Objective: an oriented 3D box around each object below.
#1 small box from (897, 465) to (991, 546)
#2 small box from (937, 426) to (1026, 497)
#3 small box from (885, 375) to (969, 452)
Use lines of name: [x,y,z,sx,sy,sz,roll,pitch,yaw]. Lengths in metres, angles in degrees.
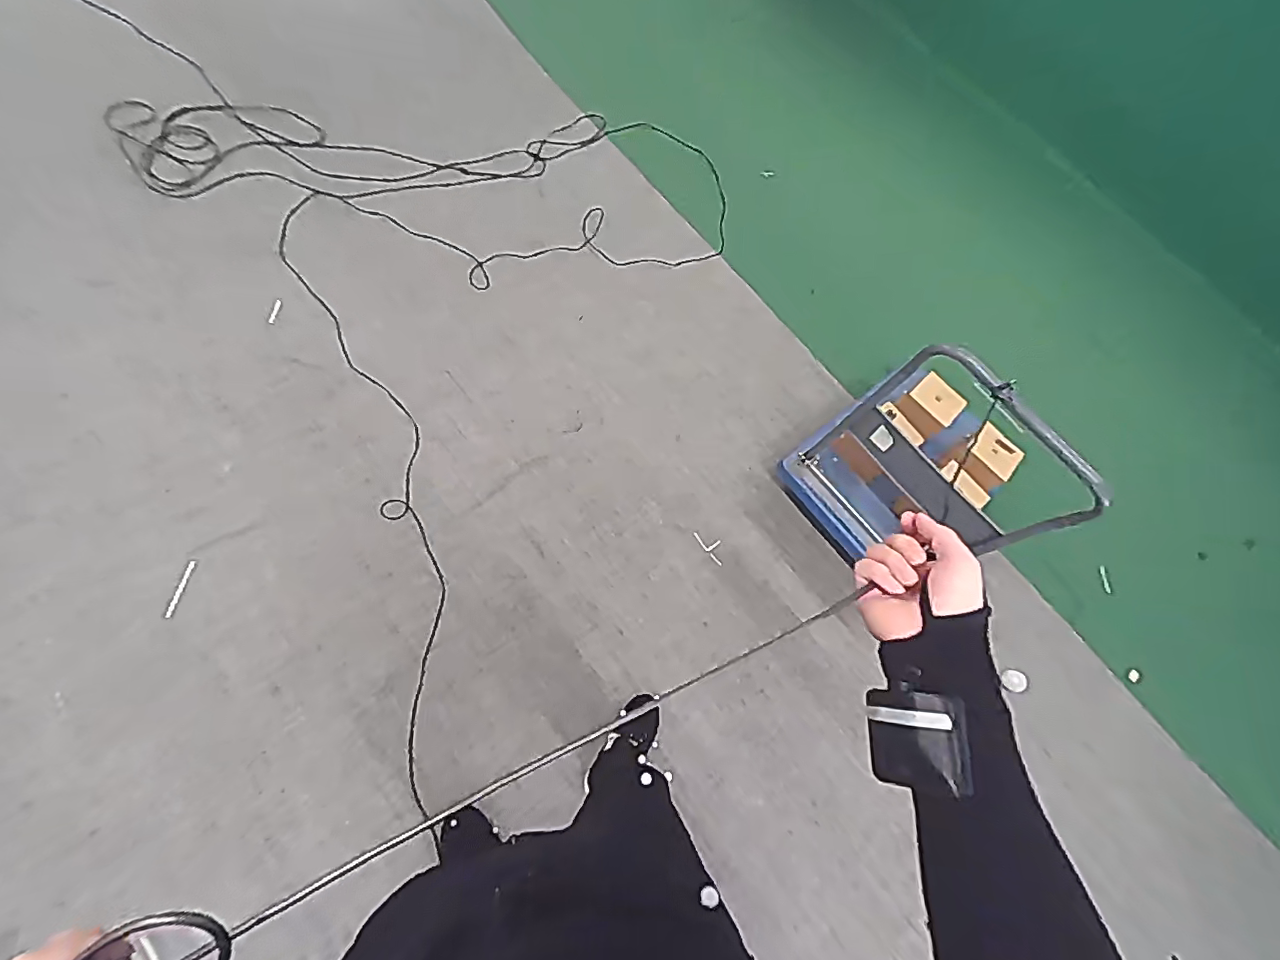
small box: [0.974,0.084,1.747,0.179,0.176,0.168,-33,77,-26]
small box: [1.175,-0.048,1.870,0.179,0.176,0.168,-38,79,-27]
small box: [1.005,-0.229,1.911,0.179,0.176,0.168,-37,80,-28]
